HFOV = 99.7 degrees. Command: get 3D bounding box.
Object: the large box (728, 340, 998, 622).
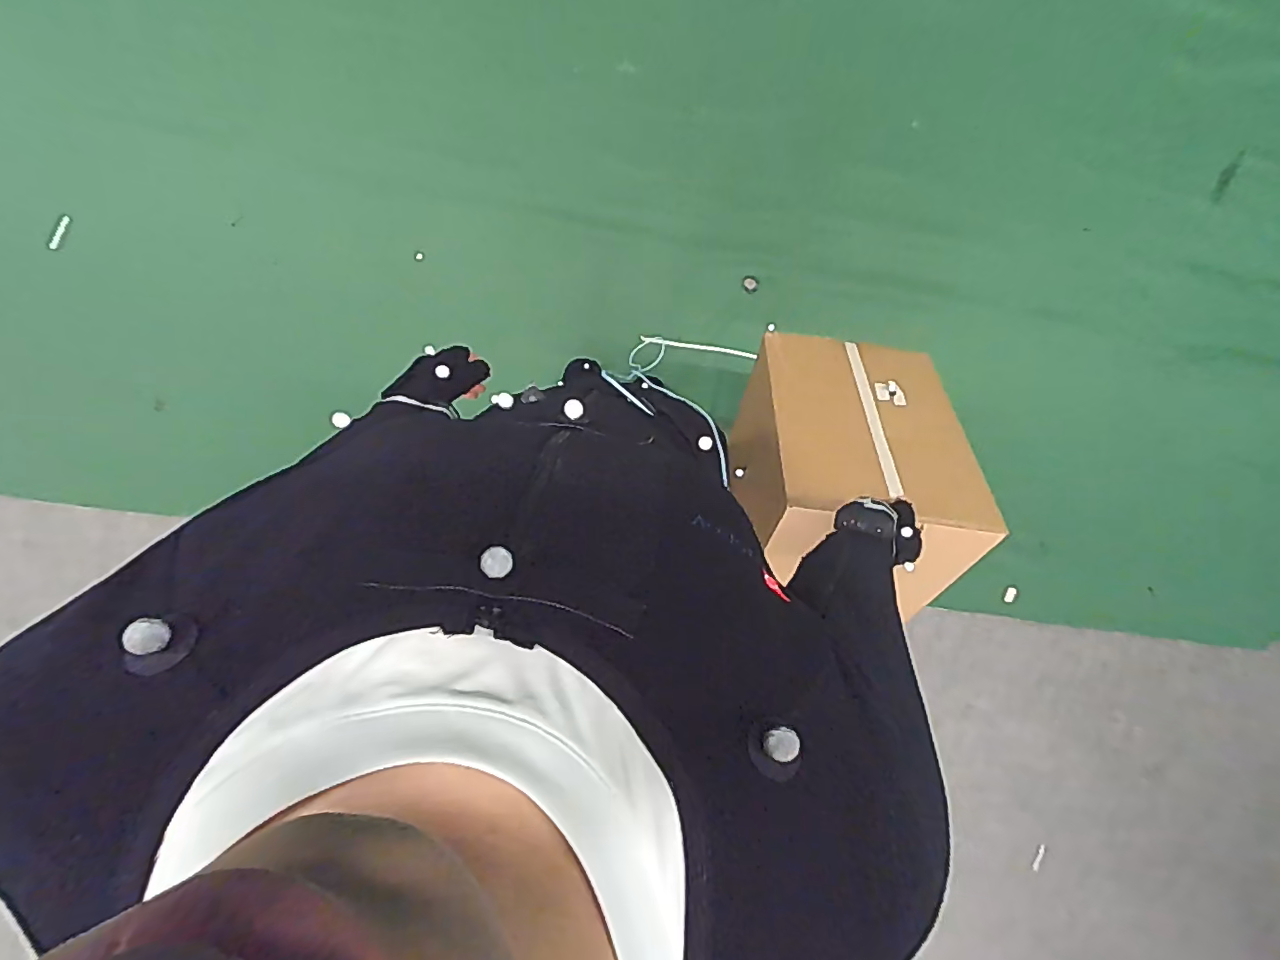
[{"bbox_3d":[0.350,0.004,0.993,0.320,0.408,0.320,8,139,-3],"label":"large box"}]
